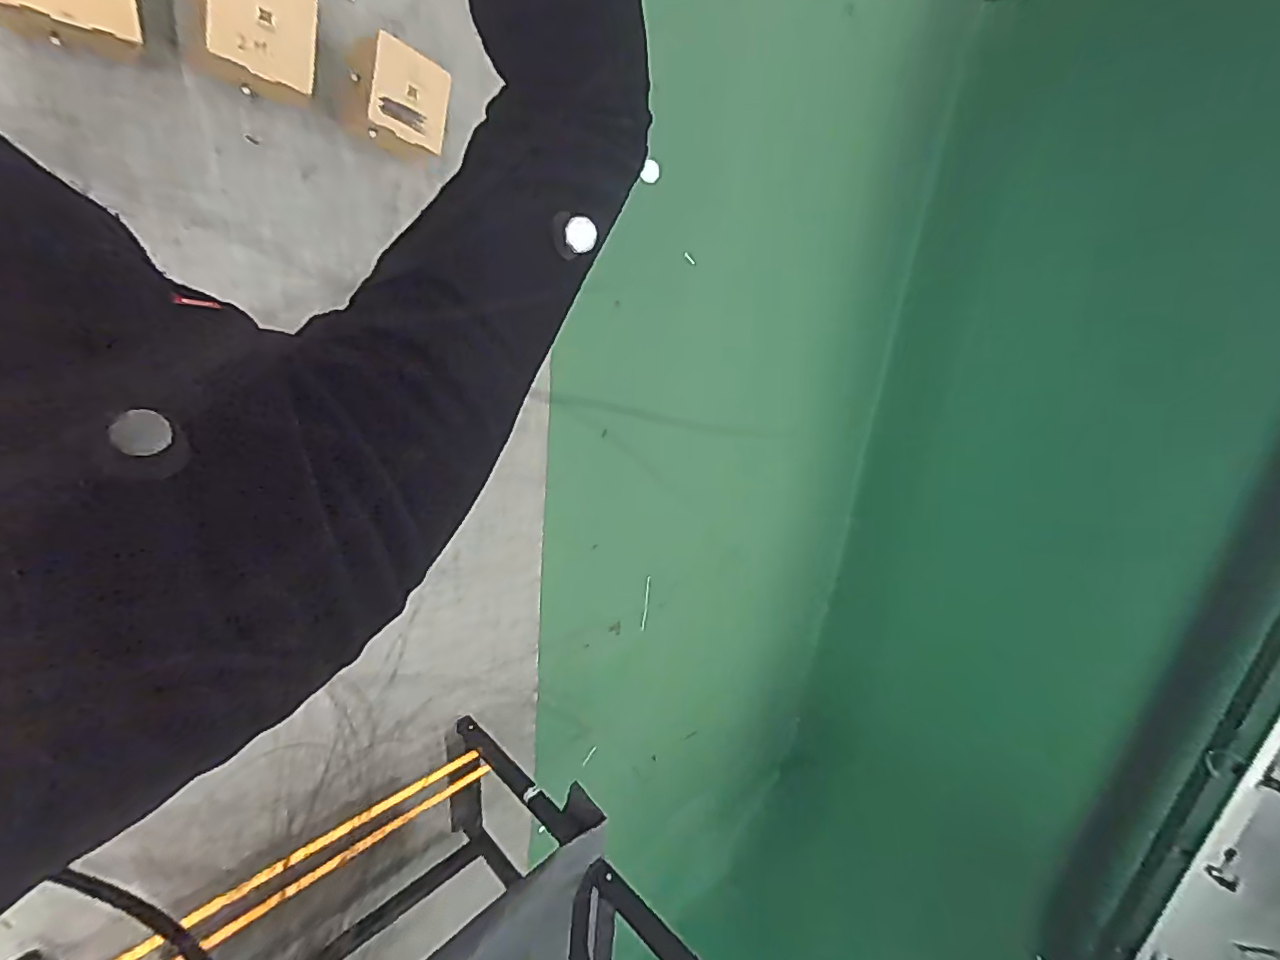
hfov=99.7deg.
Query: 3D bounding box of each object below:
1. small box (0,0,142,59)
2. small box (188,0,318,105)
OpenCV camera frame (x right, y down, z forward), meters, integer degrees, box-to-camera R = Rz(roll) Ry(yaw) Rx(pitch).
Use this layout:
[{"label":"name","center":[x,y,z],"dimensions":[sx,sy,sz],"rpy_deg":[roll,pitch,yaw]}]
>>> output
[{"label":"small box","center":[-0.907,-0.799,0.838],"dimensions":[0.168,0.176,0.179],"rpy_deg":[-13,117,-45]},{"label":"small box","center":[-0.730,-0.848,1.018],"dimensions":[0.168,0.176,0.179],"rpy_deg":[-2,109,-48]}]
